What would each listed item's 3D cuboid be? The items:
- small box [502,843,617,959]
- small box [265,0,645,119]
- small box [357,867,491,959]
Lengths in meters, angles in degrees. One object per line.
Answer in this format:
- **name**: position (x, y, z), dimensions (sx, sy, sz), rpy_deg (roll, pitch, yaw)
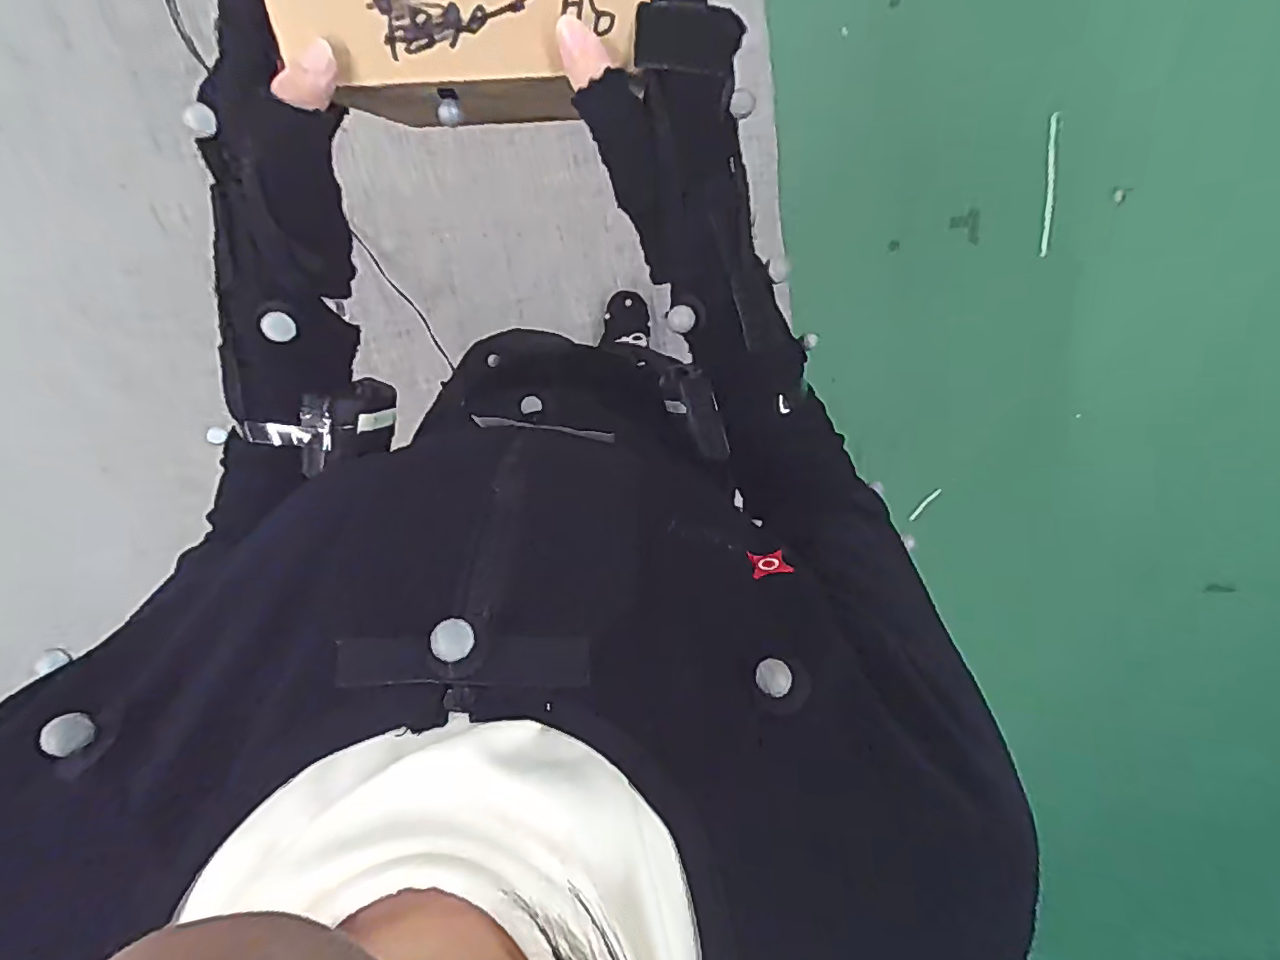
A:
- **small box**: position (-0.141, 0.807, 0.996), dimensions (0.168, 0.176, 0.179), rpy_deg (-12, 109, 1)
- **small box**: position (-0.088, -0.304, 0.278), dimensions (0.168, 0.176, 0.179), rpy_deg (-4, 118, -2)
- **small box**: position (-0.383, 0.854, 0.980), dimensions (0.168, 0.176, 0.179), rpy_deg (-12, 106, -1)
